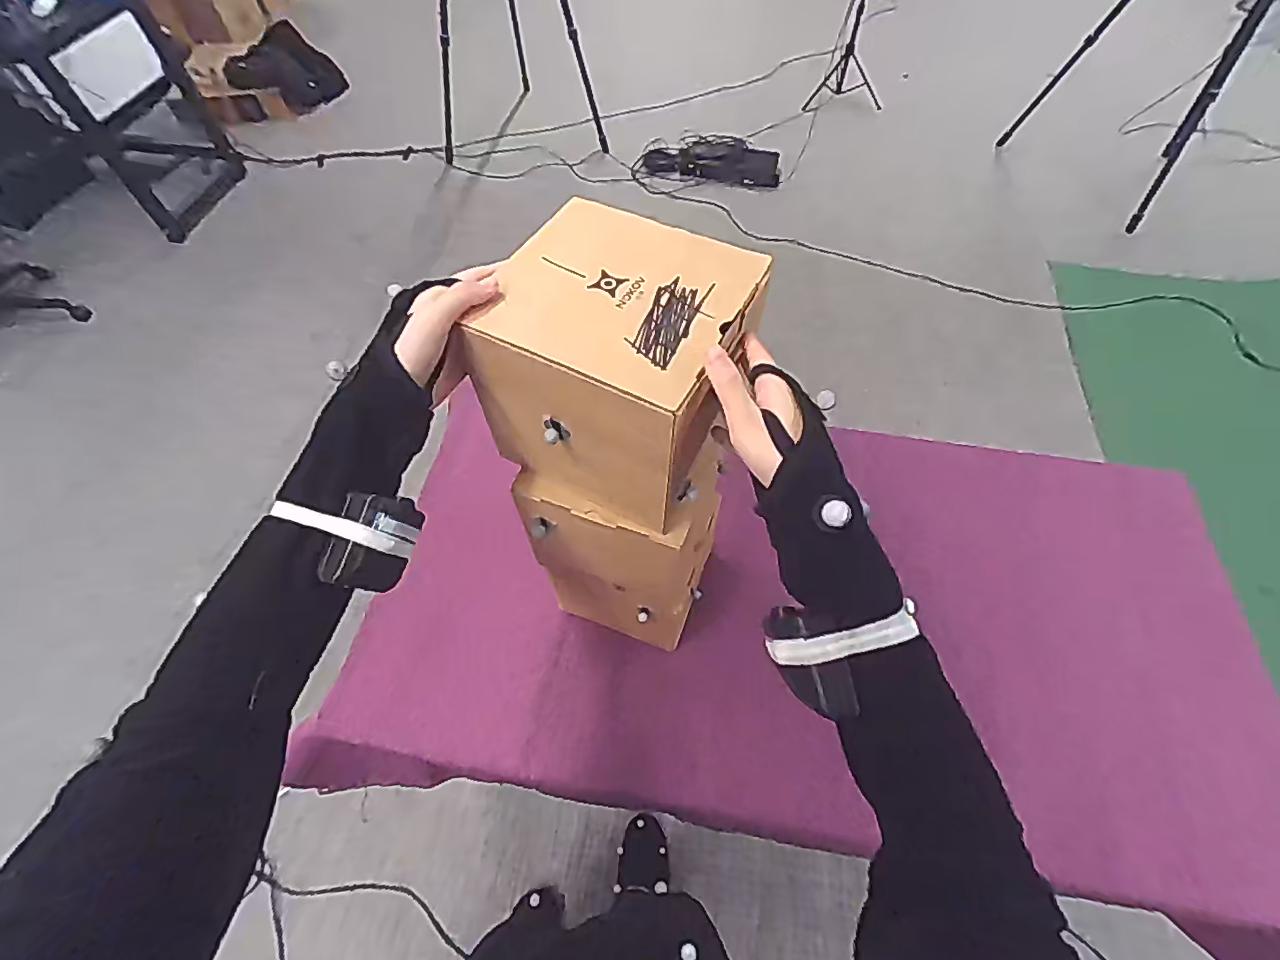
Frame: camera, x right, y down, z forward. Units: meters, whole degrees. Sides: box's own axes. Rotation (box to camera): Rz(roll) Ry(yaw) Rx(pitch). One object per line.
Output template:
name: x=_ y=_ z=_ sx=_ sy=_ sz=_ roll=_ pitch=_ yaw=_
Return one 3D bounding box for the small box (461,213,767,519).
small box: x=-0.014 y=-0.089 z=0.467 sx=0.179 sy=0.176 sz=0.168 roll=24 pitch=60 yaw=15

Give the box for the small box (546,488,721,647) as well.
small box: x=-0.005 y=0.106 z=0.734 sx=0.179 sy=0.176 sz=0.168 roll=18 pitch=58 yaw=10
